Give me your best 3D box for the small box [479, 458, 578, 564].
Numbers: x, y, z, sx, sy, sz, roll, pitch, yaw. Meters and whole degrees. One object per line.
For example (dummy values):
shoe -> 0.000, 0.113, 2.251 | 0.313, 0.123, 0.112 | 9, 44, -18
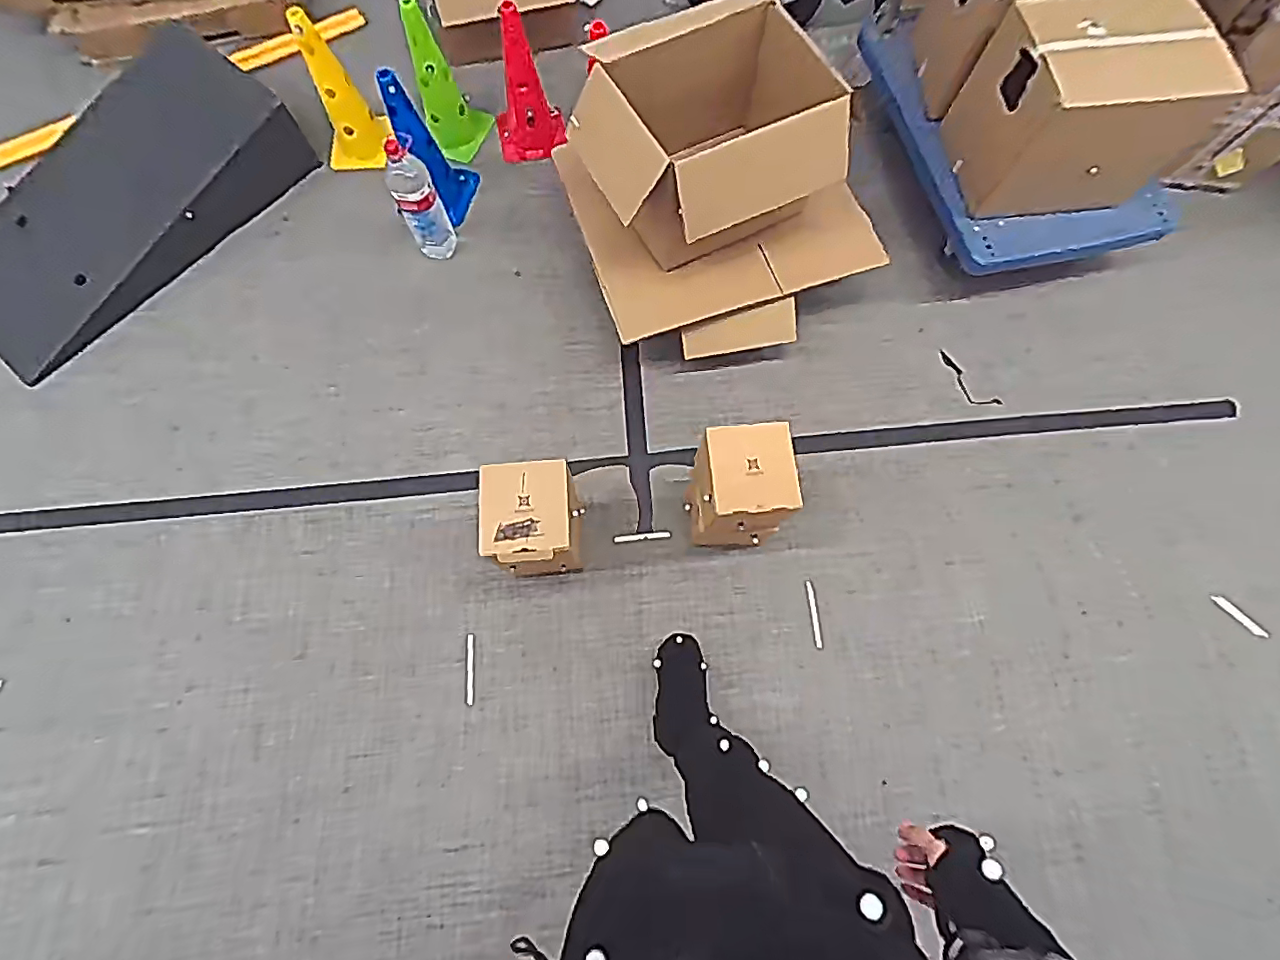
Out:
small box -> -0.214, 0.069, 1.068 | 0.168, 0.176, 0.179 | -4, 72, -2

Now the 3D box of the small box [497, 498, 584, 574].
small box -> -0.223, 0.116, 1.226 | 0.179, 0.176, 0.168 | -7, 73, -2

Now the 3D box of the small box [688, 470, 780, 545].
small box -> 0.209, 0.054, 1.251 | 0.179, 0.176, 0.168 | 0, 73, -2

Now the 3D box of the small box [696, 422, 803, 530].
small box -> 0.212, -0.004, 1.099 | 0.168, 0.176, 0.179 | -4, 75, -3
